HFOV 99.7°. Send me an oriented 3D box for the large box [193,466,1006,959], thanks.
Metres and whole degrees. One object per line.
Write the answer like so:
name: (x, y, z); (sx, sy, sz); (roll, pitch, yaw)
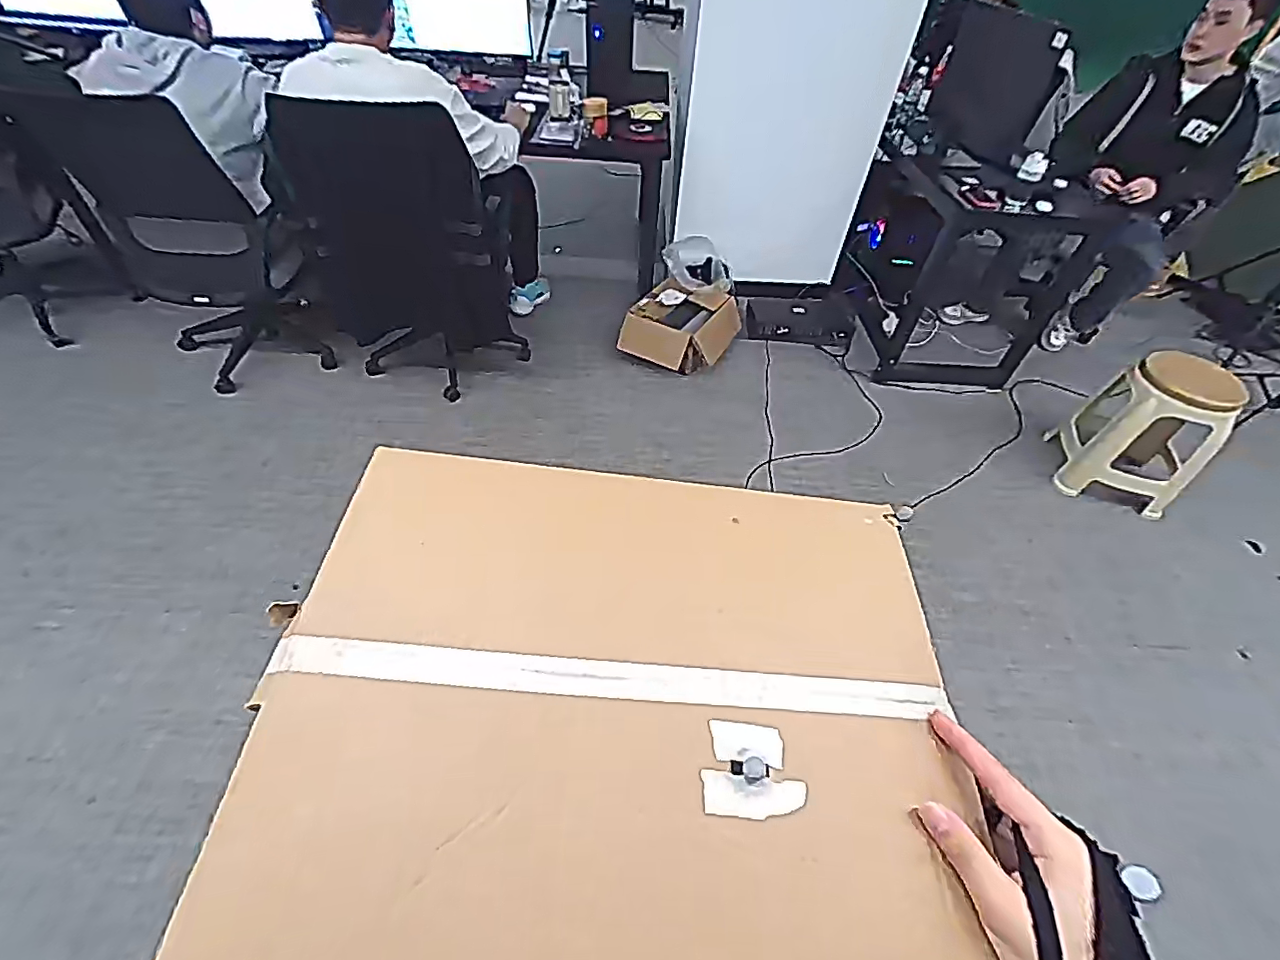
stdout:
large box: (-0.024, 0.219, 0.456); (0.408, 0.320, 0.320); (7, 54, -6)
